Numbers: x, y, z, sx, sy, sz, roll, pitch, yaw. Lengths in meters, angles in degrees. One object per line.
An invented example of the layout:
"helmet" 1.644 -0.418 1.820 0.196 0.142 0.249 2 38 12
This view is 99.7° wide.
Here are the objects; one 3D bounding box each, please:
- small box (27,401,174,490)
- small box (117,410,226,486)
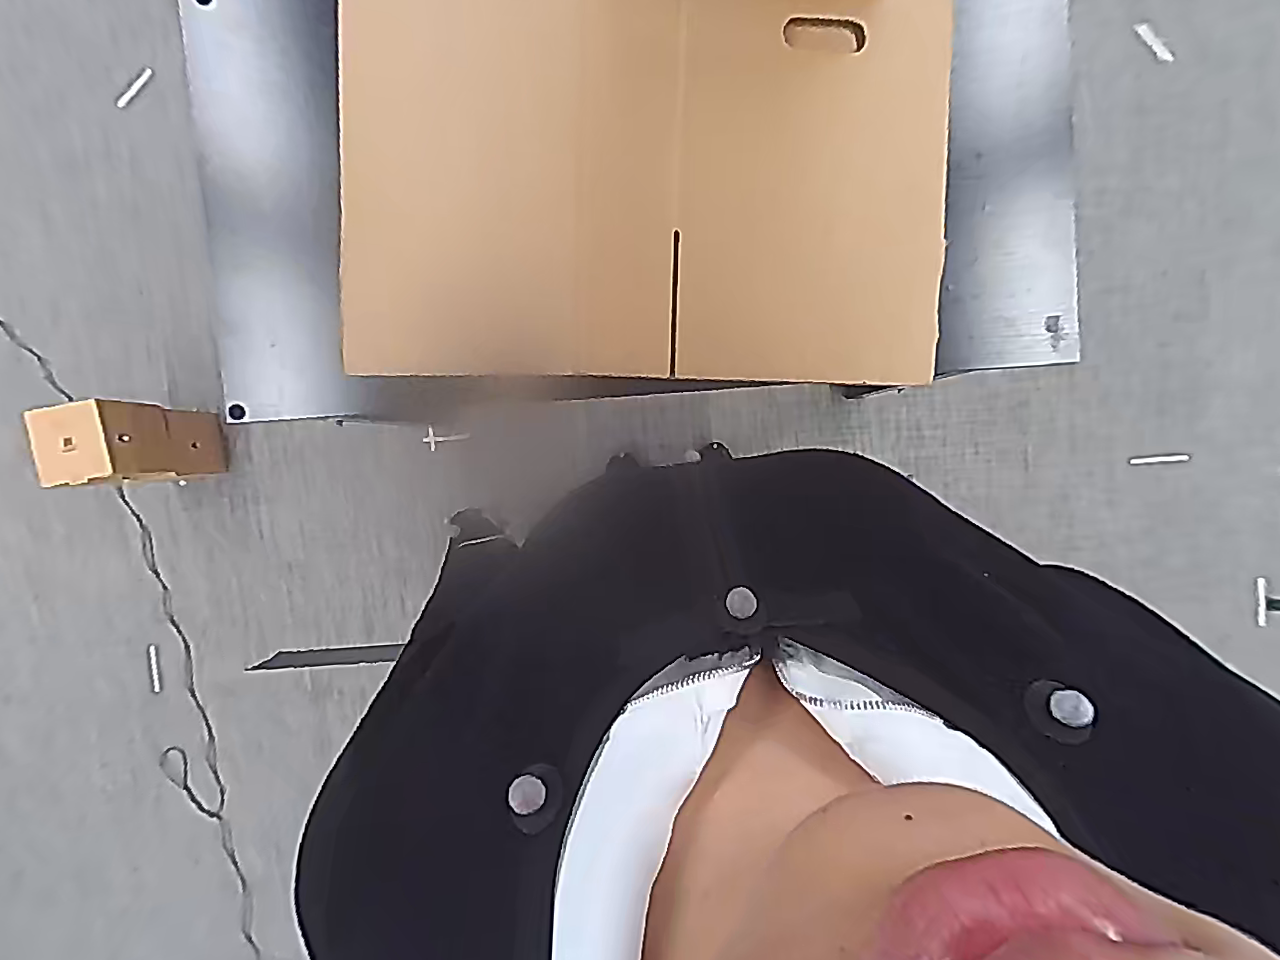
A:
"small box" -1.255 -0.080 1.273 0.168 0.176 0.179 -11 92 1
"small box" -1.250 -0.083 1.435 0.168 0.176 0.179 -8 94 1
